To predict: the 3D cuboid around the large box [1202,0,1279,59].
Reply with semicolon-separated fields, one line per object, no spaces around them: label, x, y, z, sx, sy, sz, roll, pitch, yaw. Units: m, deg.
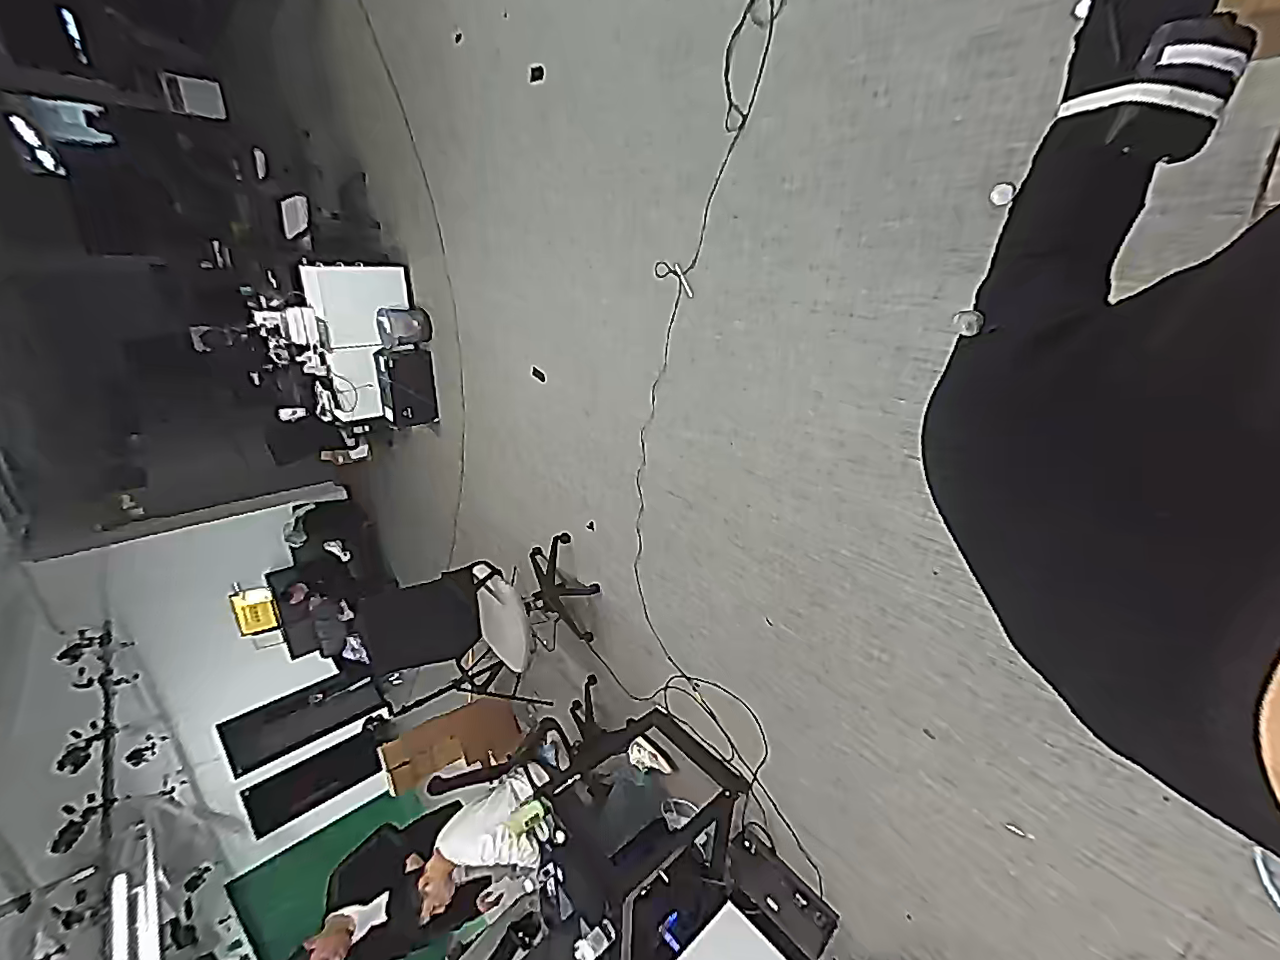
large box;0.590;-0.449;0.246;0.408;0.320;0.320;19;126;43
